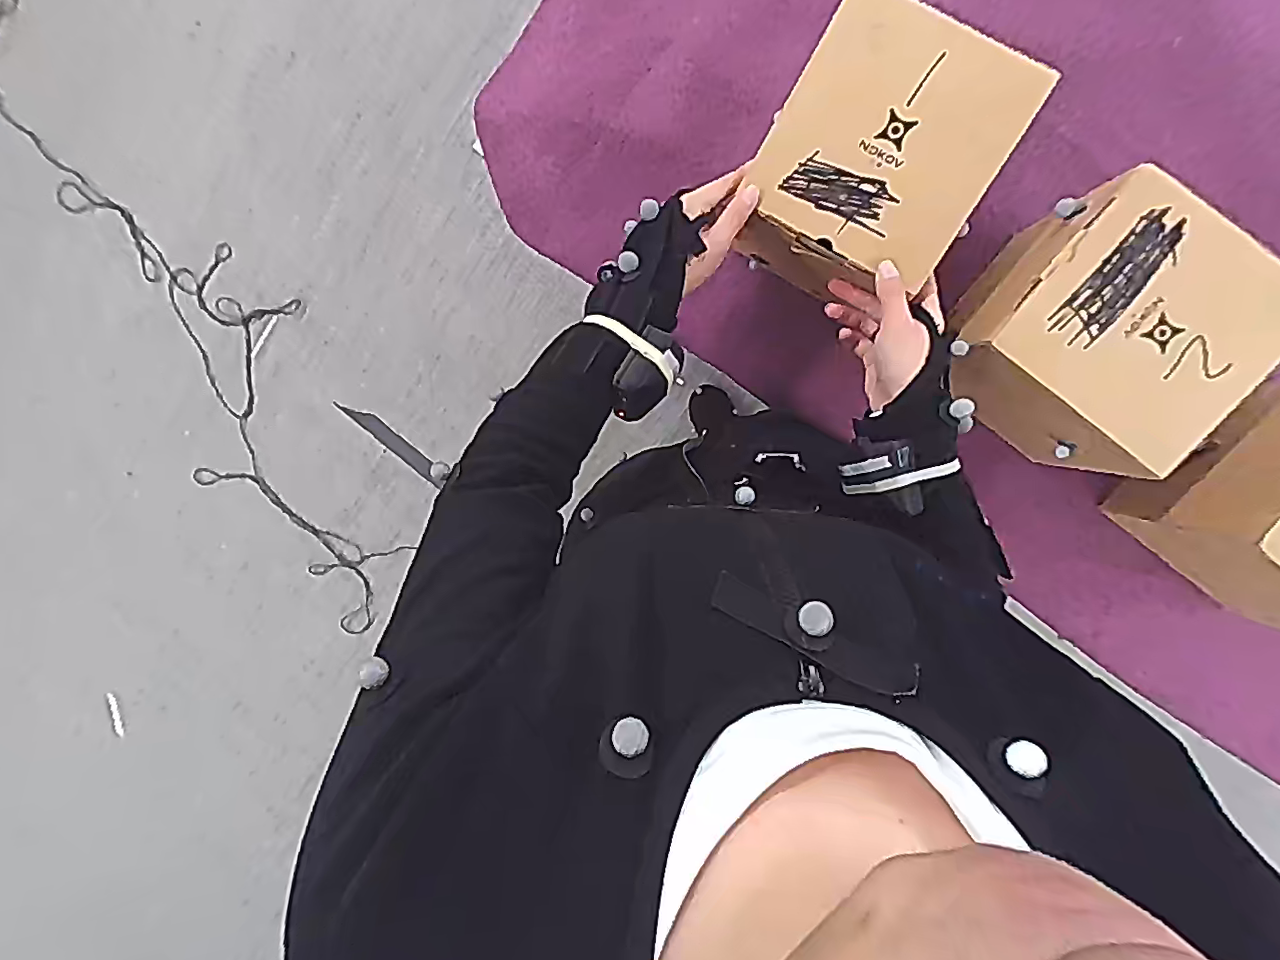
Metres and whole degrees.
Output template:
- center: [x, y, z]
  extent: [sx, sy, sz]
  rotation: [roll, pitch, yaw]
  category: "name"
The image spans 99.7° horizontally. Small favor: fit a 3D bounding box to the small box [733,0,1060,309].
- center: [0.198, -0.274, 0.477]
  extent: [0.168, 0.176, 0.179]
  rotation: [31, 102, 3]
  category: "small box"
